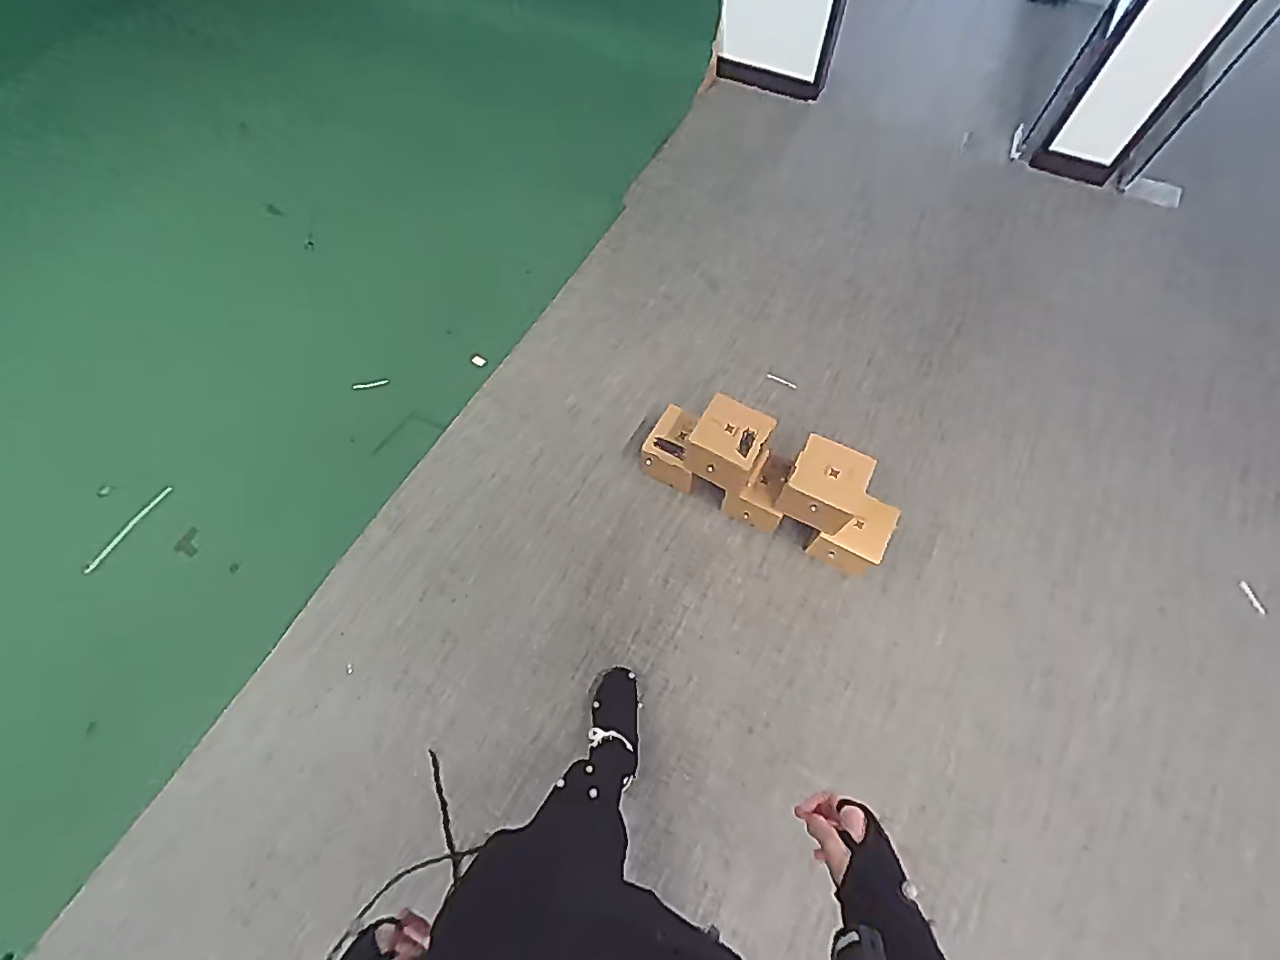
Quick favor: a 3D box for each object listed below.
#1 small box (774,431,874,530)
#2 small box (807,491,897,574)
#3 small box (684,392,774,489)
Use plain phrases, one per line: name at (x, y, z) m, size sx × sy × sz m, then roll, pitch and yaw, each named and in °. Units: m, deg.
small box at (0.464, 0.008, 1.390) m, size 0.179 × 0.176 × 0.168 m, roll 26°, pitch 70°, yaw 10°
small box at (0.582, 0.139, 1.509) m, size 0.168 × 0.176 × 0.179 m, roll 26°, pitch 69°, yaw 13°
small box at (0.231, -0.096, 1.442) m, size 0.179 × 0.176 × 0.168 m, roll 28°, pitch 69°, yaw 14°
